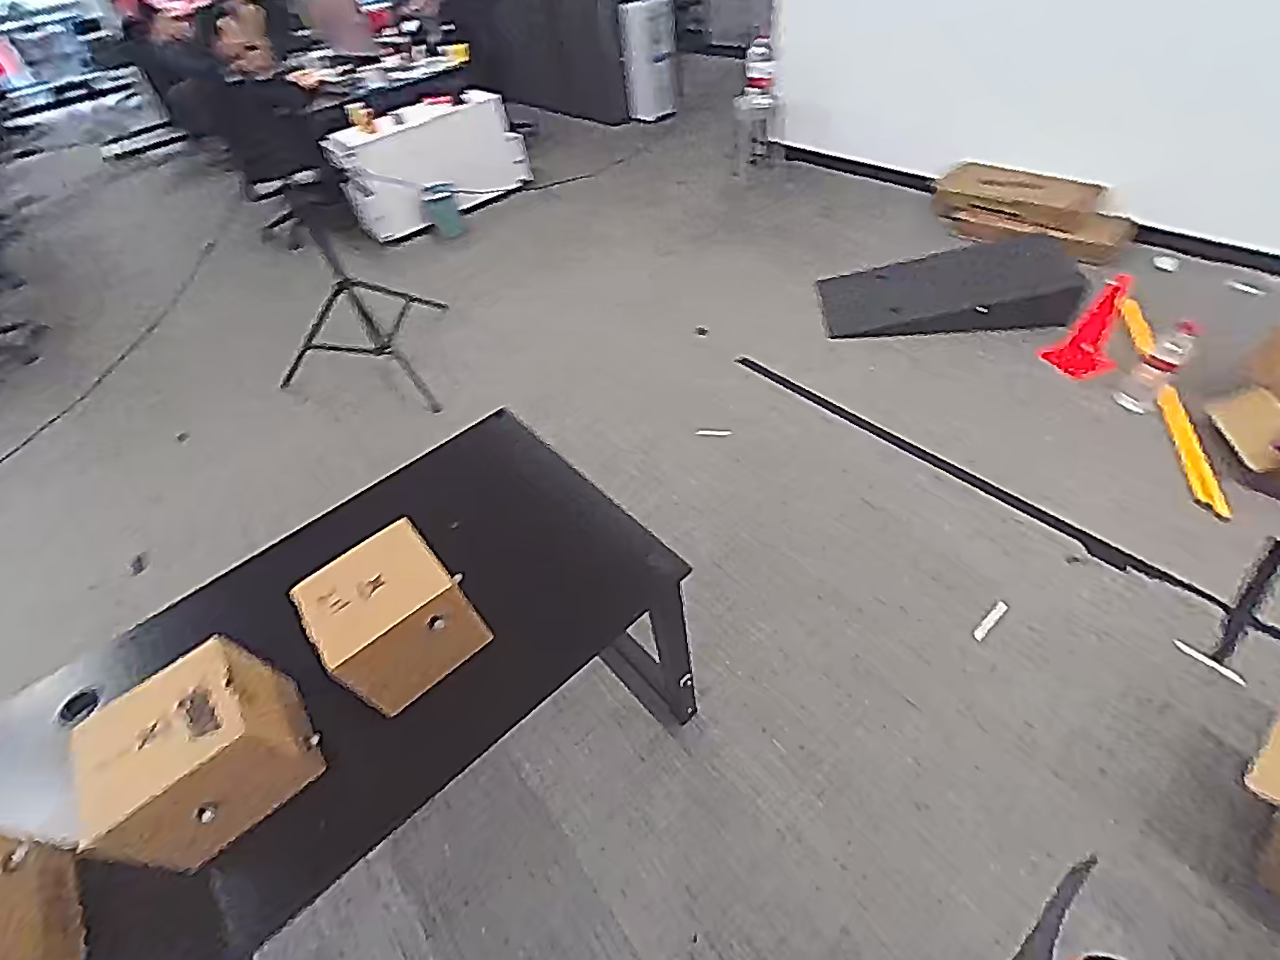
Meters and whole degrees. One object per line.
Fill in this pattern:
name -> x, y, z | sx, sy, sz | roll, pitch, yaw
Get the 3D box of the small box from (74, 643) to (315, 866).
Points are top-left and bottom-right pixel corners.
small box -> -0.559, 0.354, 0.700 | 0.179, 0.176, 0.168 | -37, 53, -21

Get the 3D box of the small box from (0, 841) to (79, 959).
small box -> -0.771, 0.525, 0.587 | 0.179, 0.176, 0.168 | -39, 53, -23

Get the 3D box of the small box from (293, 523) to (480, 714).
small box -> -0.358, 0.203, 0.798 | 0.179, 0.176, 0.168 | -37, 52, -23
